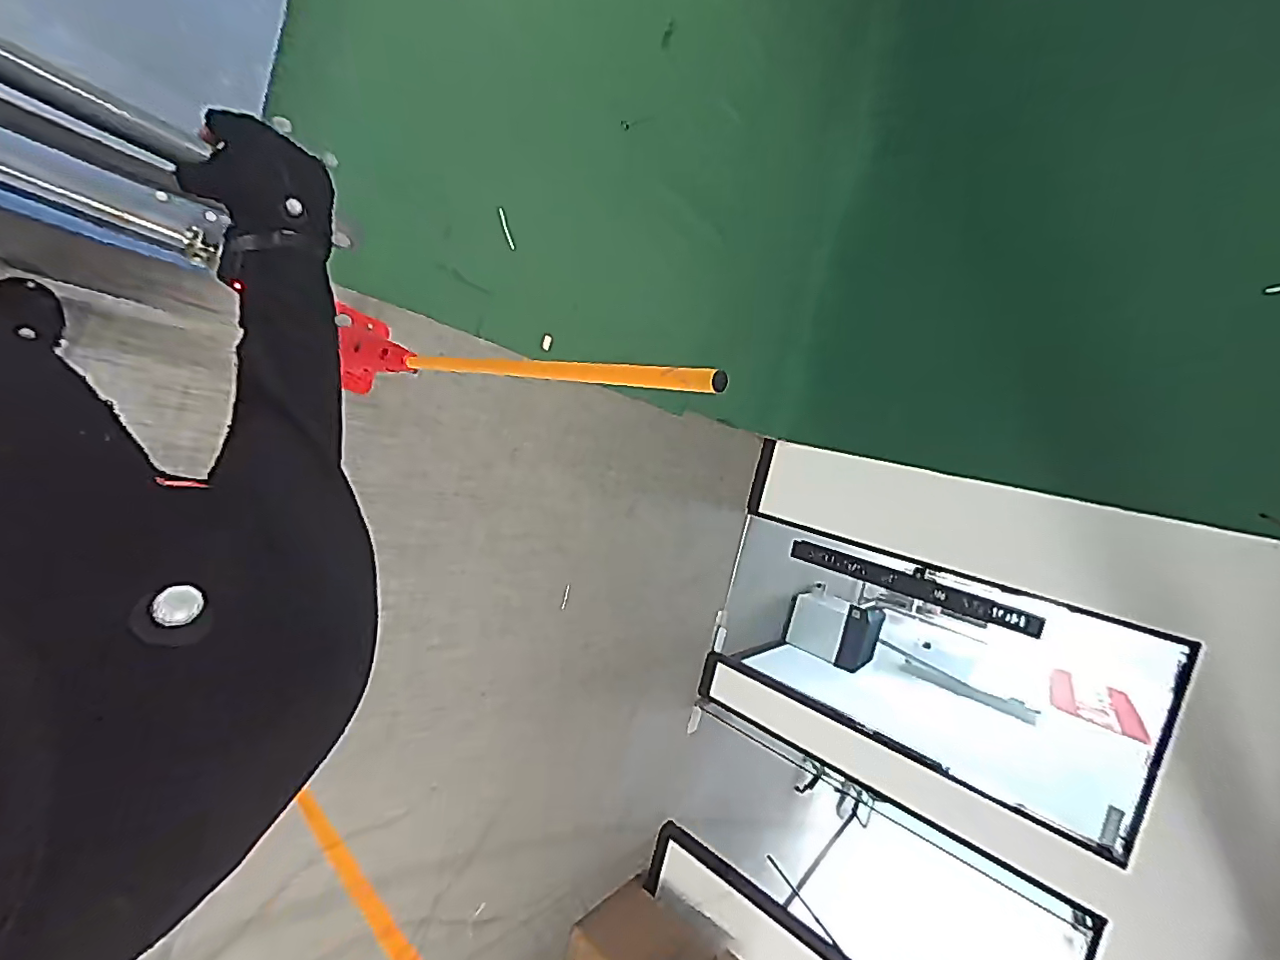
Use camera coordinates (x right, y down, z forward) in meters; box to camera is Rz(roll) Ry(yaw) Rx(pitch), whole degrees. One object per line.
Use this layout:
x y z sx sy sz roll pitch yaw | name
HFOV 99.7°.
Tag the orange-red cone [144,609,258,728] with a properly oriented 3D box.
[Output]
-0.941 0.453 1.217 0.199 0.360 0.198 10 95 -51 | orange-red cone
